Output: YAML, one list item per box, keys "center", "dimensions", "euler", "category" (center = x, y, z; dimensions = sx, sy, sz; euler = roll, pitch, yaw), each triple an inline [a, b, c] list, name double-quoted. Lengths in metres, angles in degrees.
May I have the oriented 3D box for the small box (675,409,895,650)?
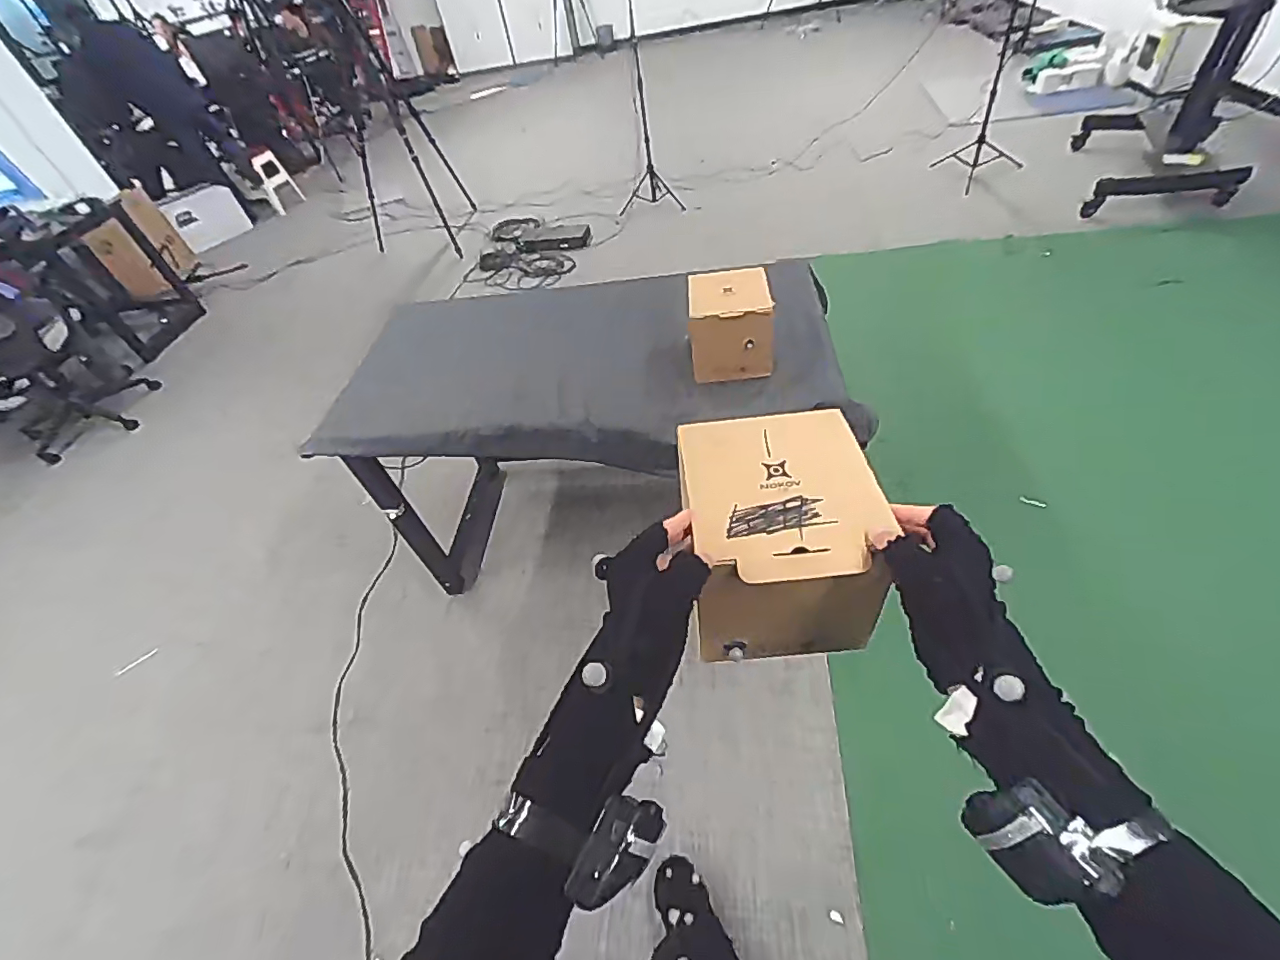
- center: [0.128, 0.055, 0.542]
  dimensions: [0.168, 0.176, 0.179]
  euler: [-6, 43, 3]
  category: "small box"

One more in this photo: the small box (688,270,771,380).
- center: [0.194, -0.332, 1.180]
  dimensions: [0.168, 0.176, 0.179]
  euler: [-4, 45, 7]
  category: "small box"
